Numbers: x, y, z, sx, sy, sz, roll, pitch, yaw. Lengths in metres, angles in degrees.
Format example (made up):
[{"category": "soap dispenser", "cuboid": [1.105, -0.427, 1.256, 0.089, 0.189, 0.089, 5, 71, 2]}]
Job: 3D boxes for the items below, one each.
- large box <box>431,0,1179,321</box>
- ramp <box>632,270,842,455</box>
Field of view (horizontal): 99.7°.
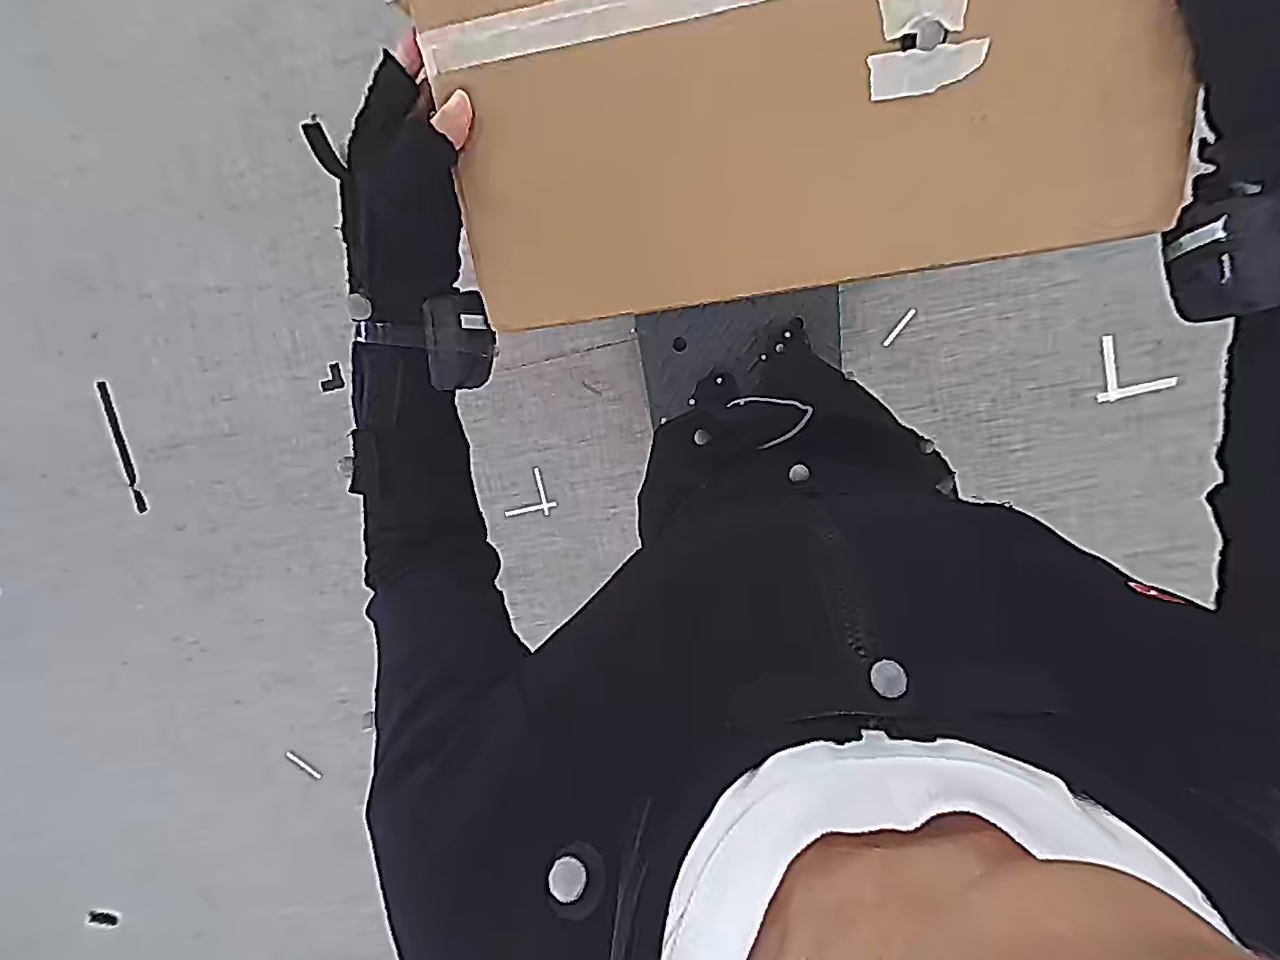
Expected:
[{"category": "large box", "cuboid": [0.090, -0.325, 0.432, 0.408, 0.320, 0.320, -7, 110, 7]}, {"category": "ramp", "cuboid": [0.202, -0.561, 1.263, 0.509, 0.206, 0.991, -10, 100, 7]}]
